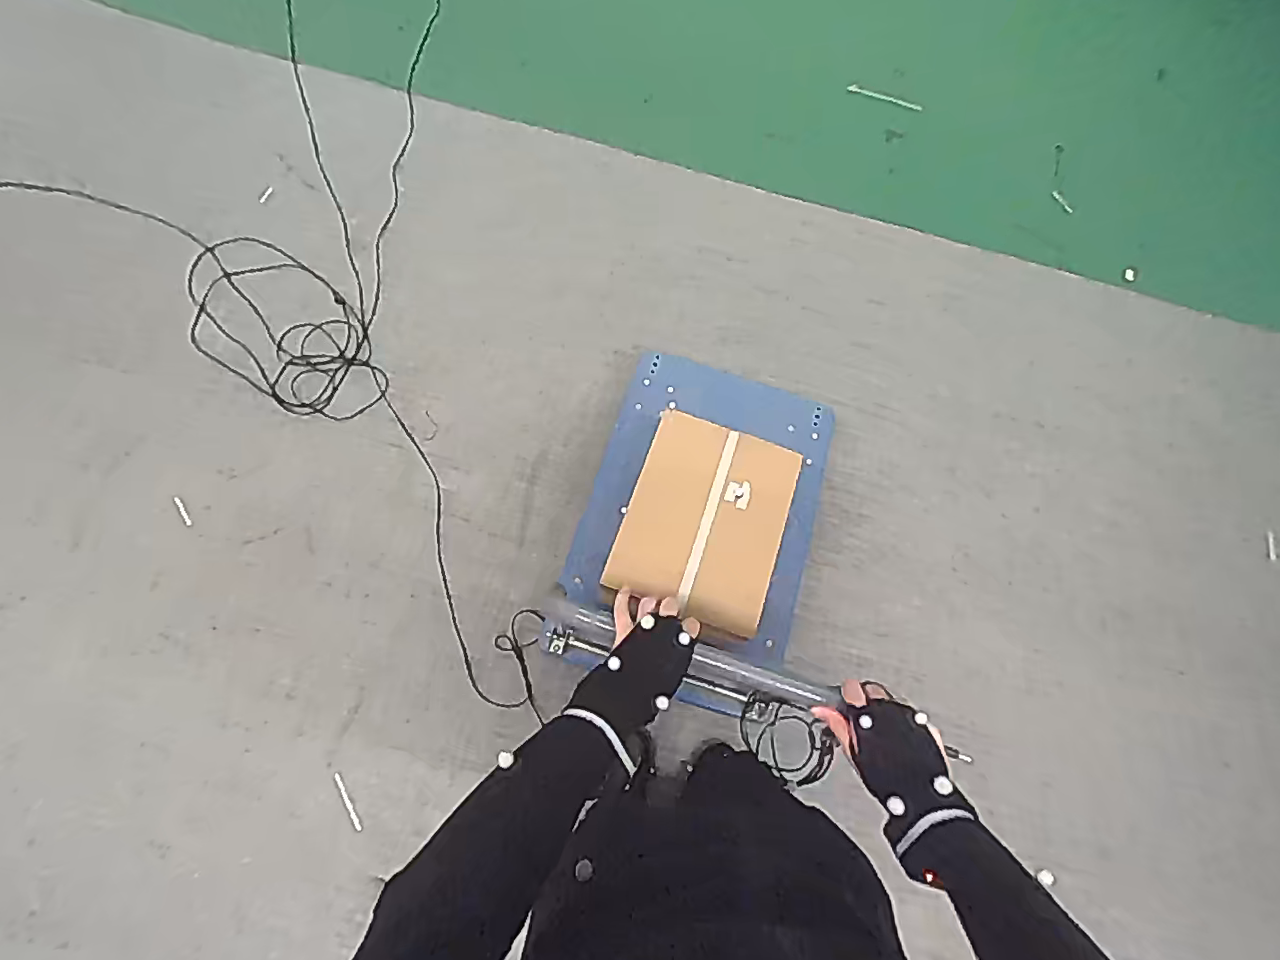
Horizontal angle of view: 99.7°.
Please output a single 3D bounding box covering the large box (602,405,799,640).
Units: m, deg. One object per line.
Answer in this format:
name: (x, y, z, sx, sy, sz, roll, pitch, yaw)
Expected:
large box: (0.121, 0.112, 1.218, 0.320, 0.320, 0.408, 20, 70, 1)
